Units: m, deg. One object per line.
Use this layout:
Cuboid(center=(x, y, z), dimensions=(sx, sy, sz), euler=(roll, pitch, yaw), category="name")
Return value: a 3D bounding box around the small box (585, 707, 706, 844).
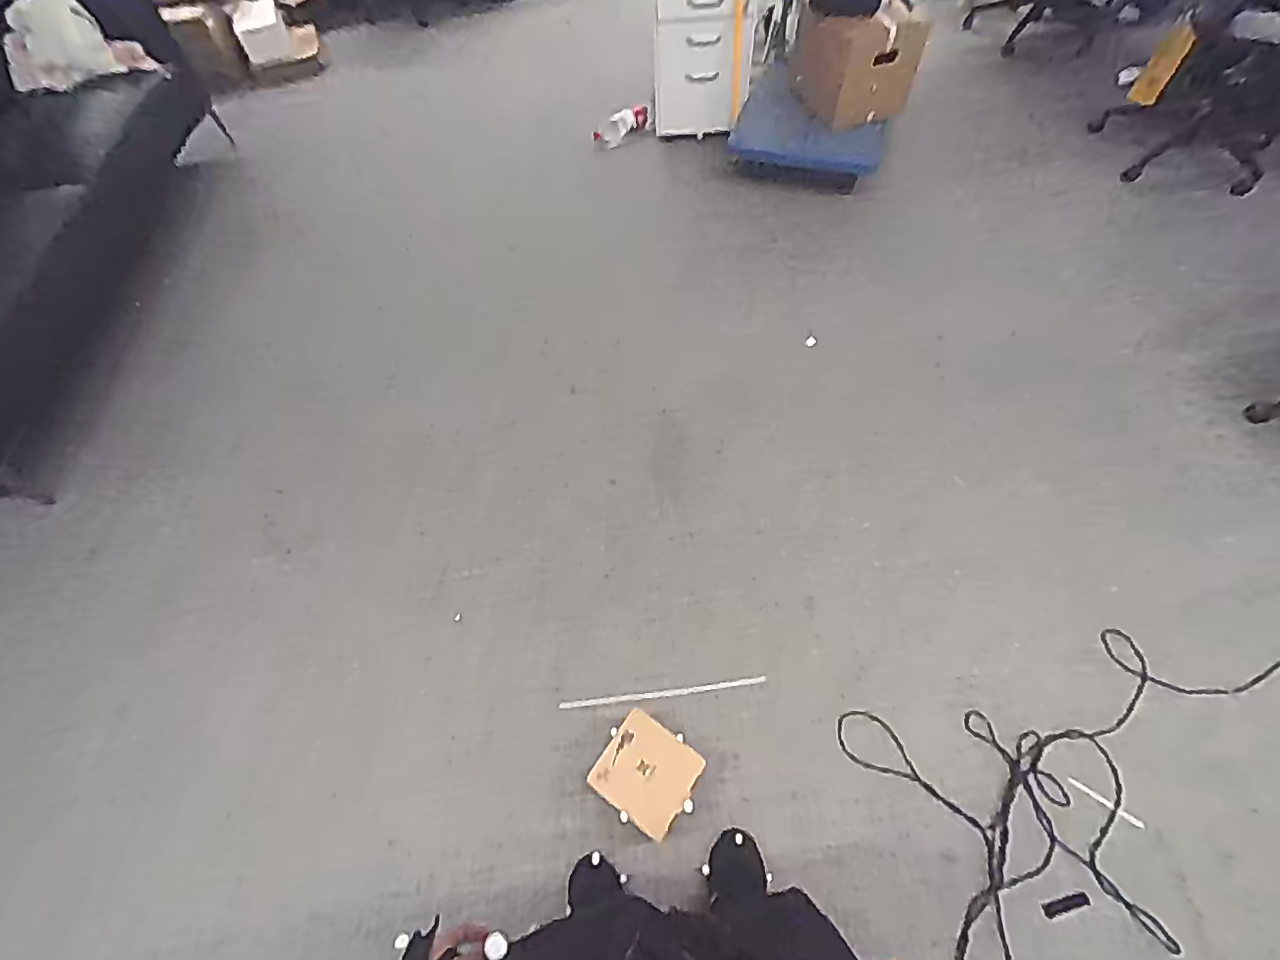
Cuboid(center=(0.016, 0.592, 1.094), dimensions=(0.179, 0.176, 0.168), euler=(31, 66, 20), category="small box")
